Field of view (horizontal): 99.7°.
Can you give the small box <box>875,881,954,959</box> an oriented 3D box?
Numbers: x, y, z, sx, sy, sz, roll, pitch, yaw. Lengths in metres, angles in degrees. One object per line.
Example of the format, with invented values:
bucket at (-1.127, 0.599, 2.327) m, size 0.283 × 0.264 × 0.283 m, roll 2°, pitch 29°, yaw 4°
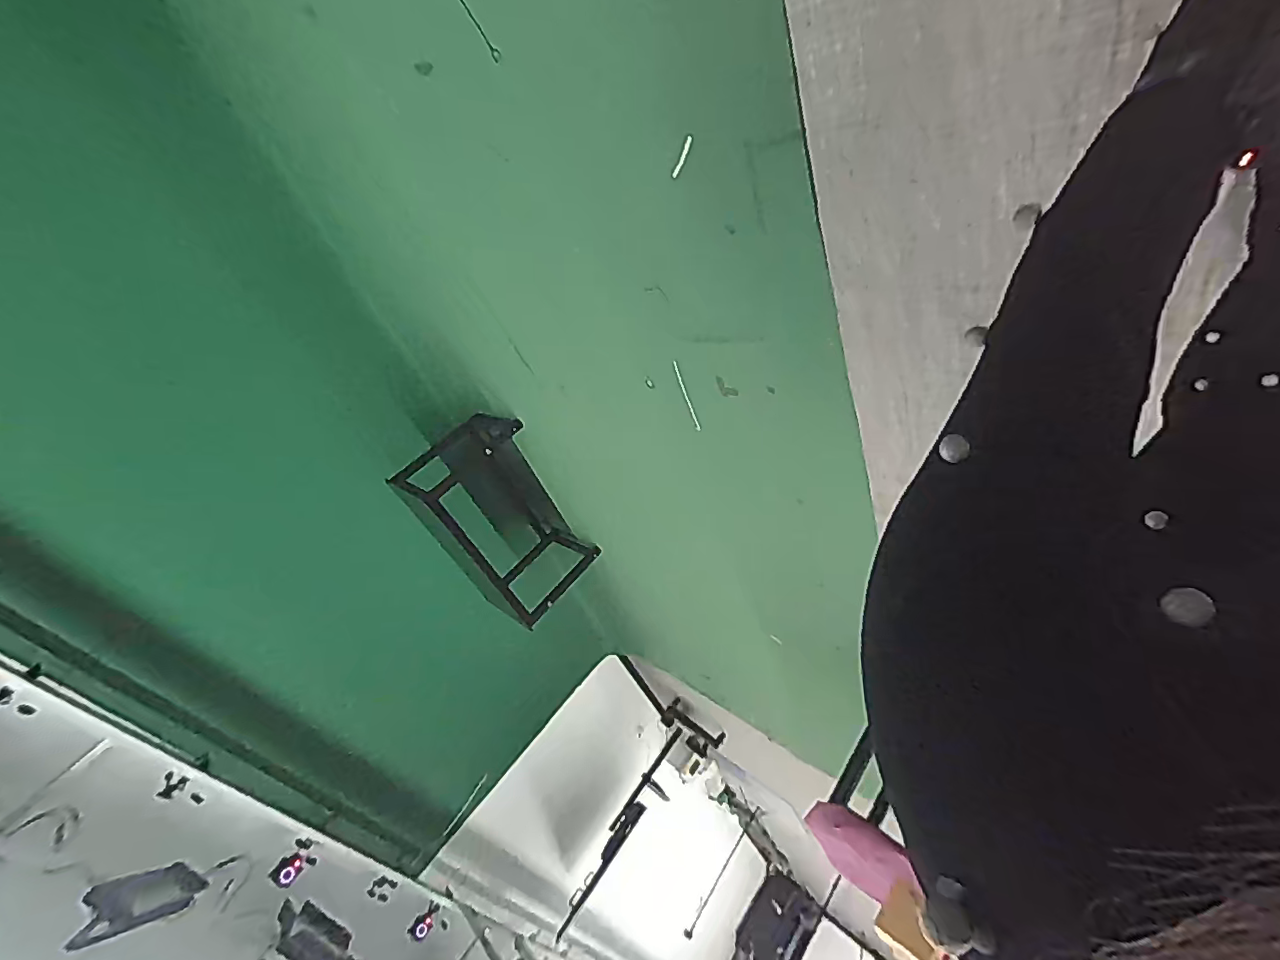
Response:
small box at (0.853, 1.398, 1.672) m, size 0.168 × 0.176 × 0.179 m, roll 16°, pitch 142°, yaw 44°
